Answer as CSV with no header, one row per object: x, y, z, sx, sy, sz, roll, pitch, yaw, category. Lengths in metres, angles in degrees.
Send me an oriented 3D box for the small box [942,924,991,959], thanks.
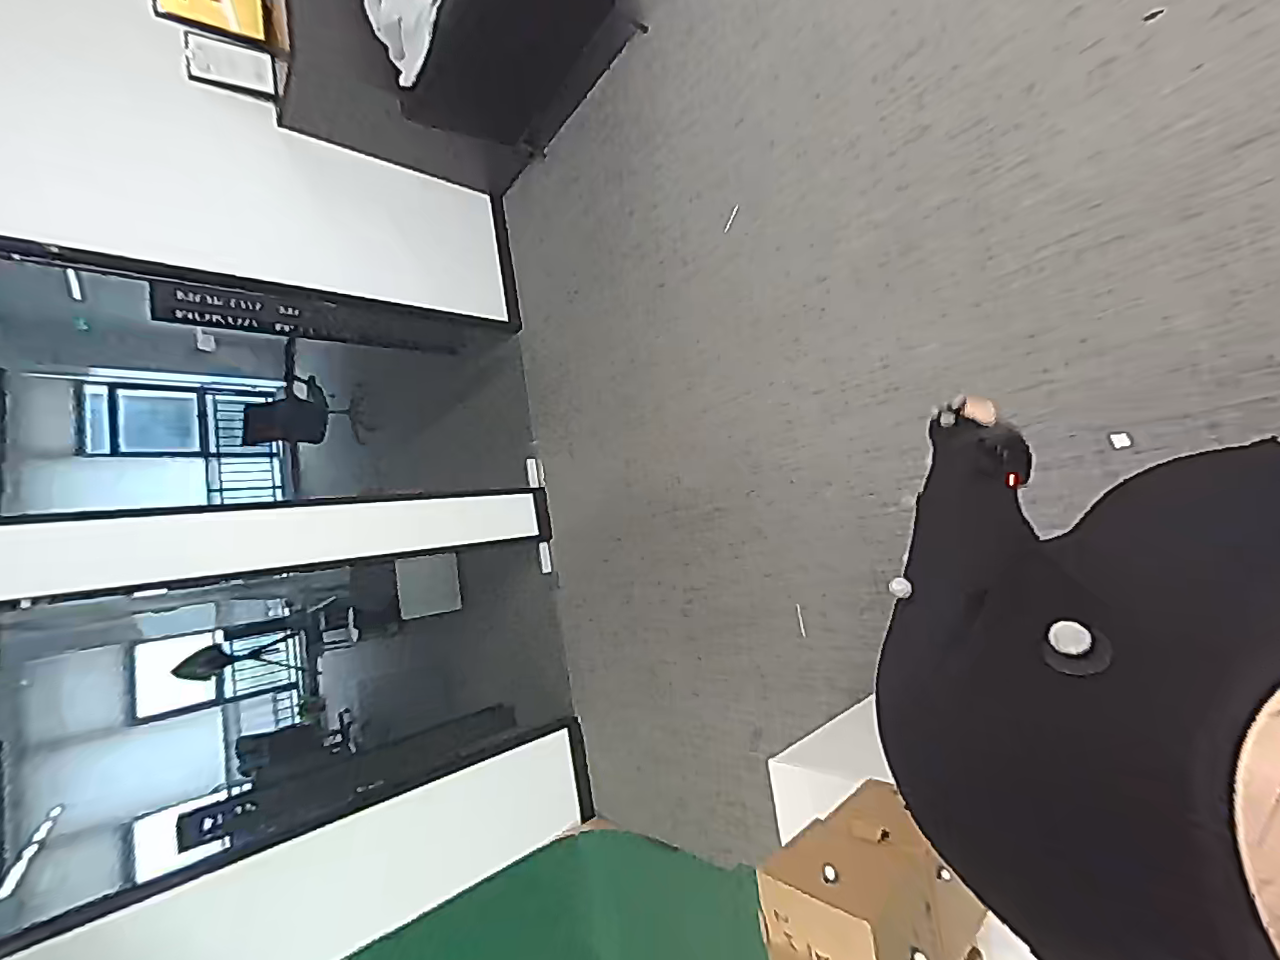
0.459,0.842,0.861,0.168,0.176,0.179,-17,78,48,small box

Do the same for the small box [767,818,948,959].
0.311,0.617,0.766,0.179,0.176,0.168,-14,82,49,small box
